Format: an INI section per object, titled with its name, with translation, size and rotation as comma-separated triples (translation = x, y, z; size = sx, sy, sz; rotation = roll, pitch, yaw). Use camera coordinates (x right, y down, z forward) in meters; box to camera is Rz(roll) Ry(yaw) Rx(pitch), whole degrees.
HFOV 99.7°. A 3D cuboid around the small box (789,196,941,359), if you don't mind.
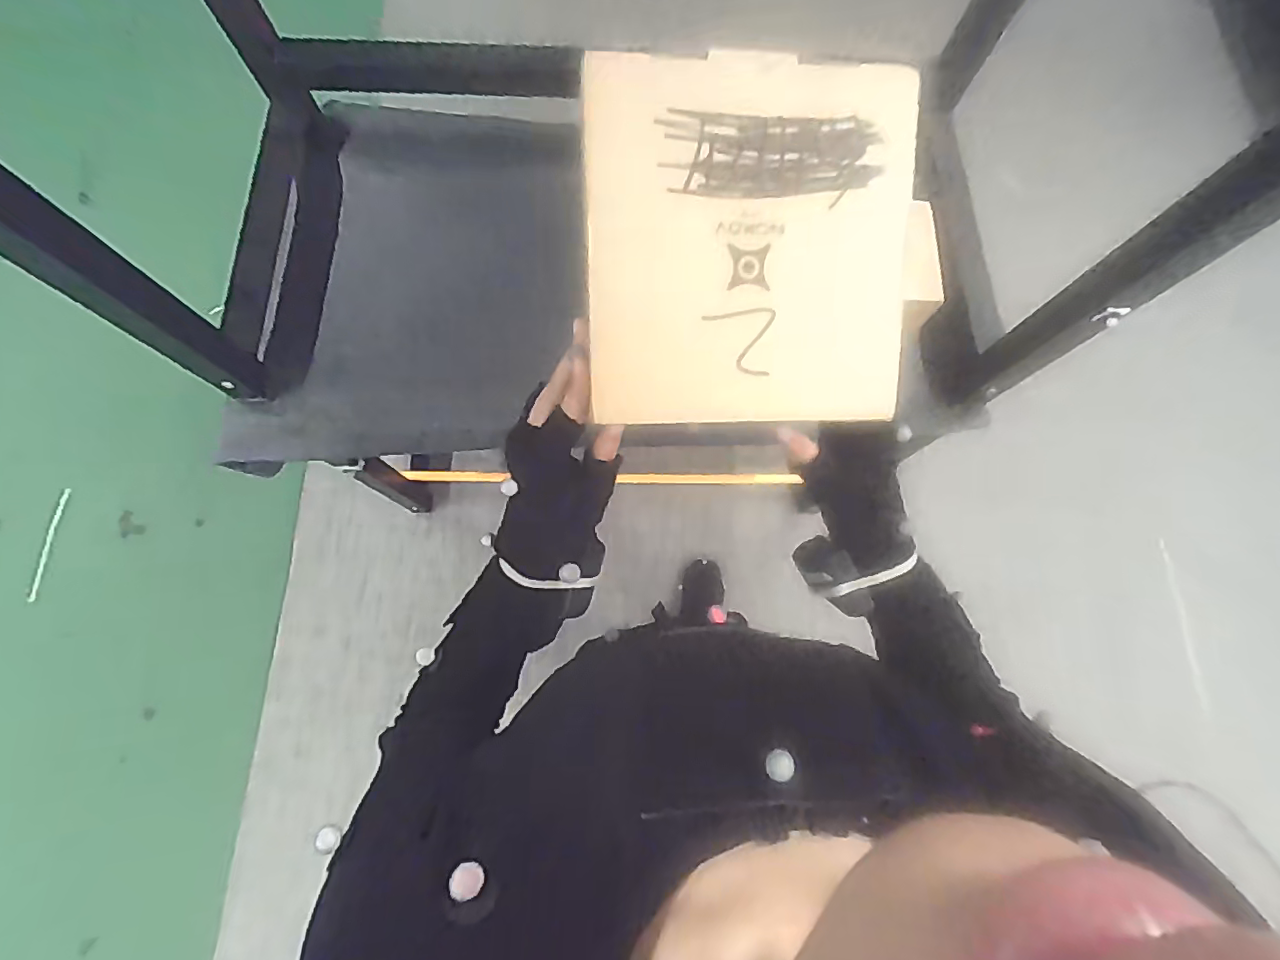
[small box]
translation = 0.339, -0.307, 0.847
size = 0.168, 0.176, 0.179
rotation = 3, 73, -1
